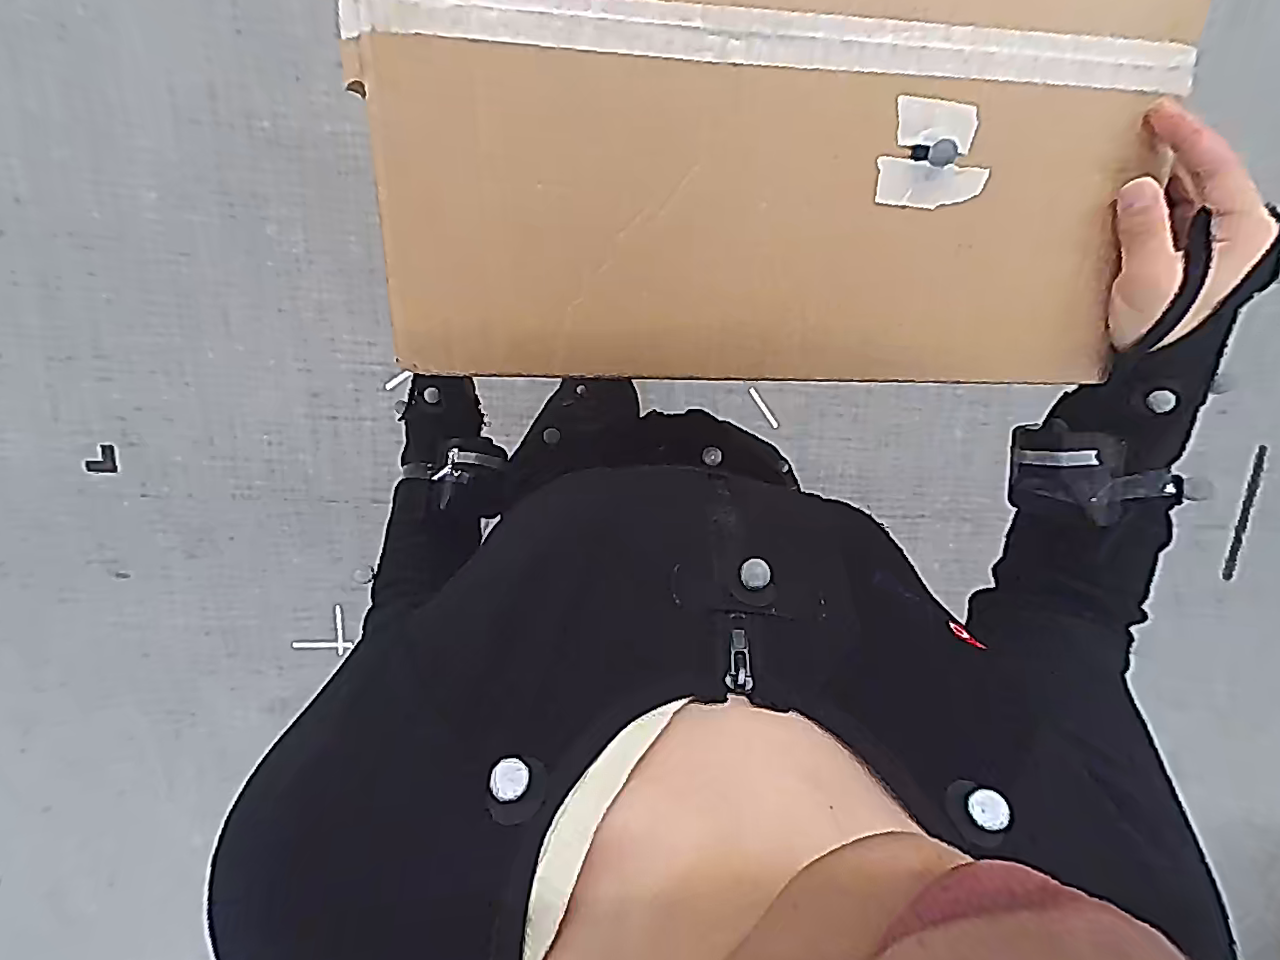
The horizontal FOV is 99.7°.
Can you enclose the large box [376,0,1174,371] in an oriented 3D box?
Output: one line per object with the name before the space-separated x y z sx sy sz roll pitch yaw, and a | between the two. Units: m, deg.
large box | 0.057 -0.255 0.408 0.408 0.320 0.320 -1 108 -8
